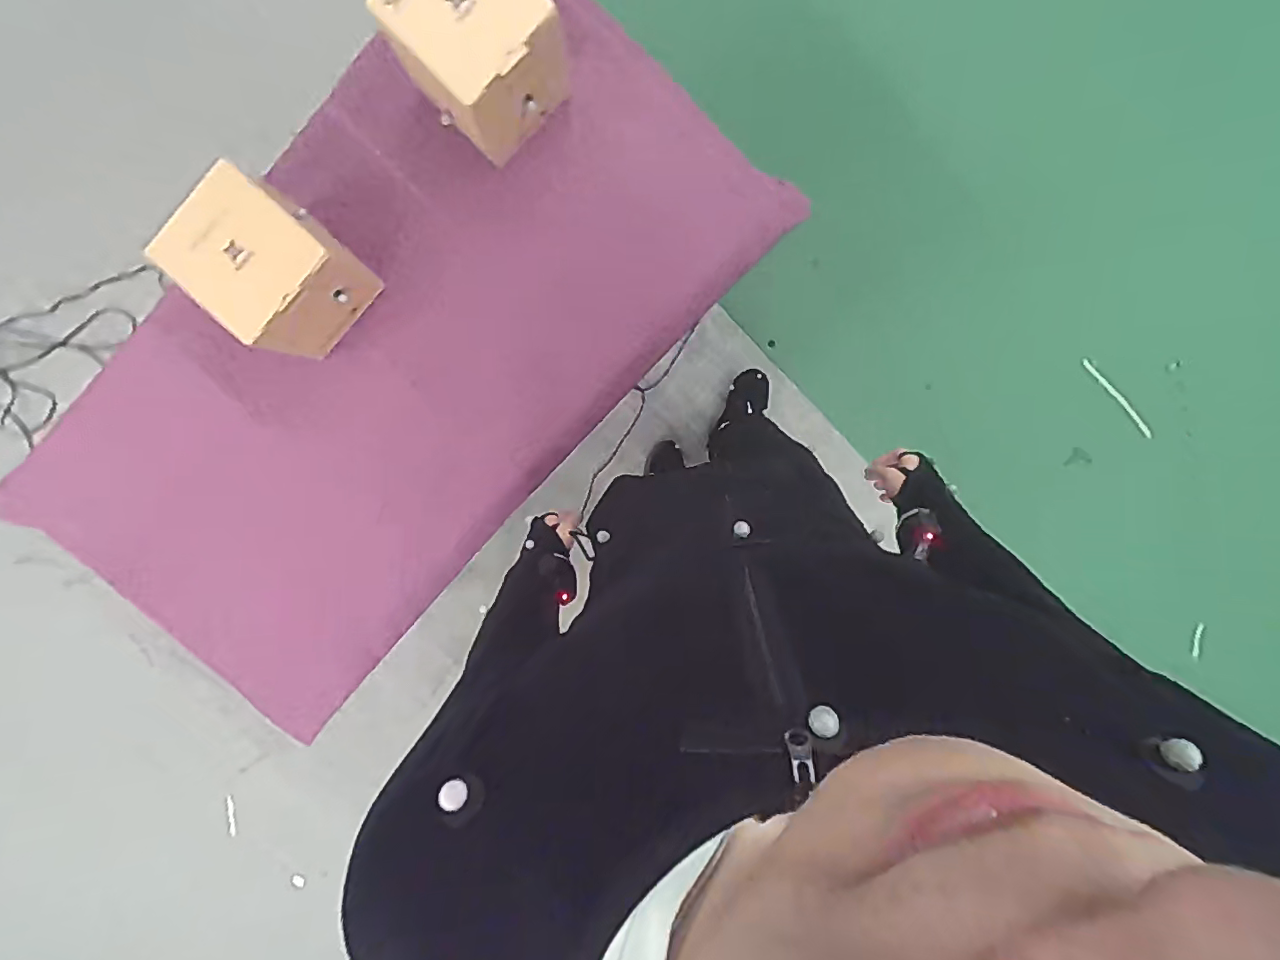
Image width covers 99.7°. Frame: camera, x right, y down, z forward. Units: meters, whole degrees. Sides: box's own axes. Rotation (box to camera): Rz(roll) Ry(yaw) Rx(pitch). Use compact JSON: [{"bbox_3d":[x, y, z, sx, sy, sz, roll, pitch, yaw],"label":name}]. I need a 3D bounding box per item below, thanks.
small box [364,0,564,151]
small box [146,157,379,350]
[{"bbox_3d":[-0.224,-0.595,0.743,0.179,0.176,0.168,44,95,-5],"label":"small box"},{"bbox_3d":[-0.520,-0.305,0.776,0.179,0.176,0.168,43,94,-4],"label":"small box"}]
